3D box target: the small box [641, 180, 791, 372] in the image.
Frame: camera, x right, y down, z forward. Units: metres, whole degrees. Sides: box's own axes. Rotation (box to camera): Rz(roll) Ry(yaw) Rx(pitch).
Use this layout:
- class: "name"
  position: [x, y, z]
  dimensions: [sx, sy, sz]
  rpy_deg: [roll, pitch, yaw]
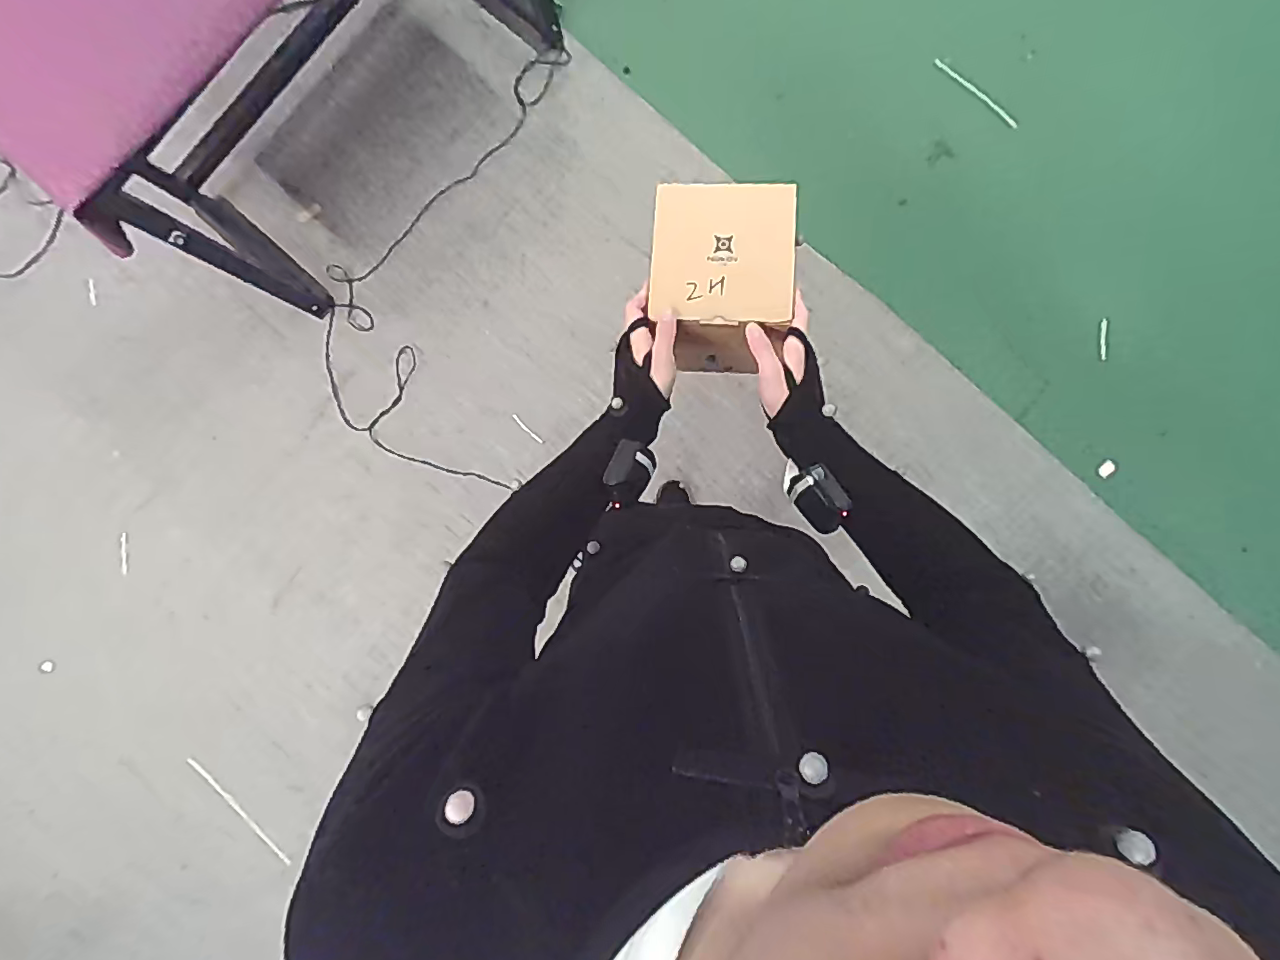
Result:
- class: "small box"
  position: [0.095, -0.255, 0.703]
  dimensions: [0.168, 0.176, 0.179]
  rpy_deg: [3, 83, 6]

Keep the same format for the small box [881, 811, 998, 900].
- class: "small box"
  position: [0.618, 0.801, 1.074]
  dimensions: [0.168, 0.176, 0.179]
  rpy_deg: [-38, 86, 3]
